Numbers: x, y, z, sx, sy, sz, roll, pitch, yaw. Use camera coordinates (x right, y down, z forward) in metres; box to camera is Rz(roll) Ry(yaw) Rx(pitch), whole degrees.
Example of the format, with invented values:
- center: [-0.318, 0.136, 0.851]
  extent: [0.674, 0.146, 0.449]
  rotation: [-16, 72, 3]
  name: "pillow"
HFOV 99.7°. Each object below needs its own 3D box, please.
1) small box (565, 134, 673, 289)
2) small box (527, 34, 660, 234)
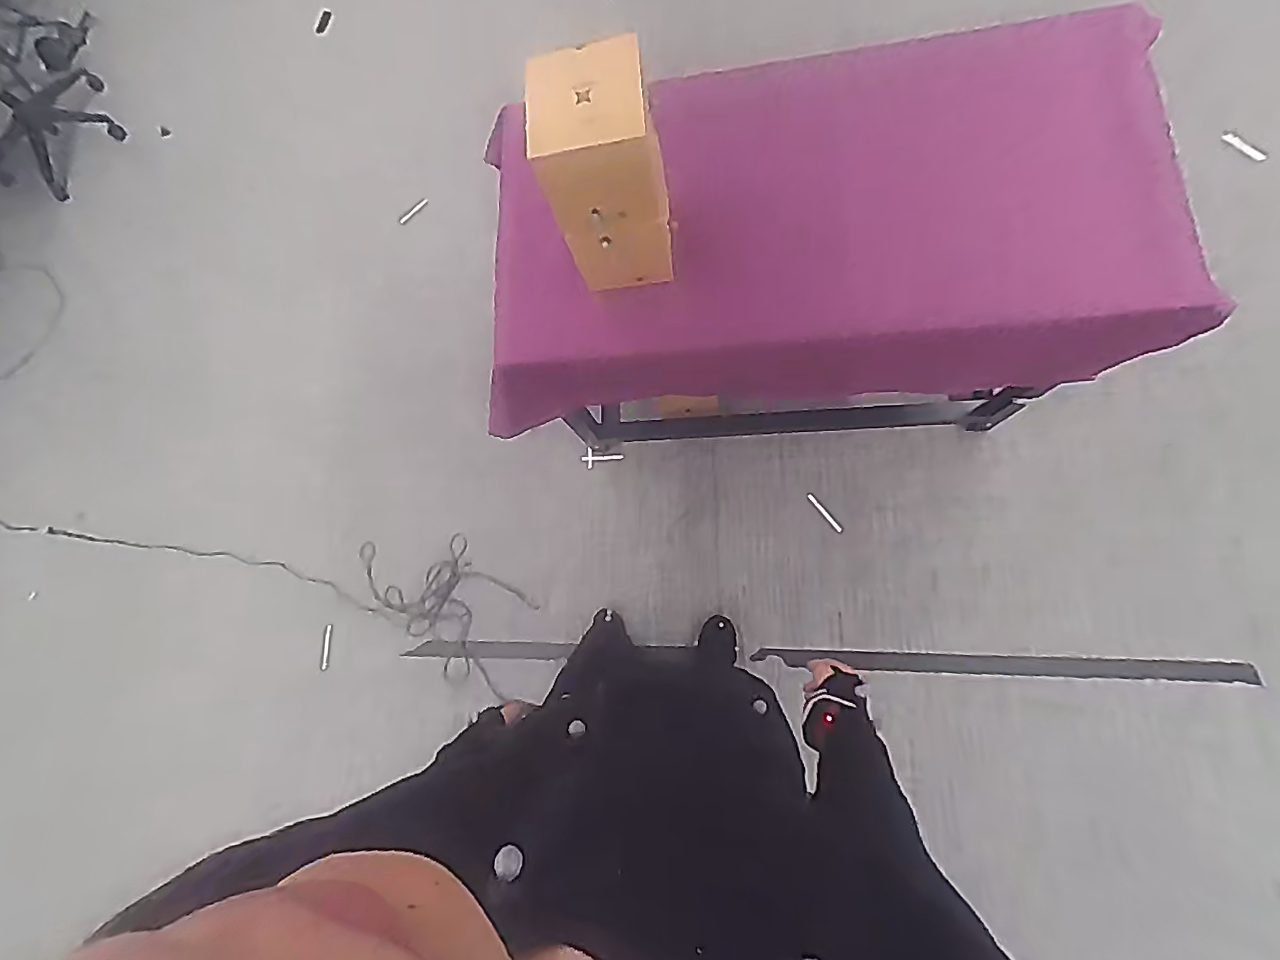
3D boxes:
- center: [-0.032, -0.472, 0.971]
  extent: [0.168, 0.176, 0.179]
  rotation: [-4, 77, 9]
  name: "small box"
- center: [-0.063, -0.508, 0.814]
  extent: [0.168, 0.176, 0.179]
  rotation: [-6, 77, 8]
  name: "small box"
